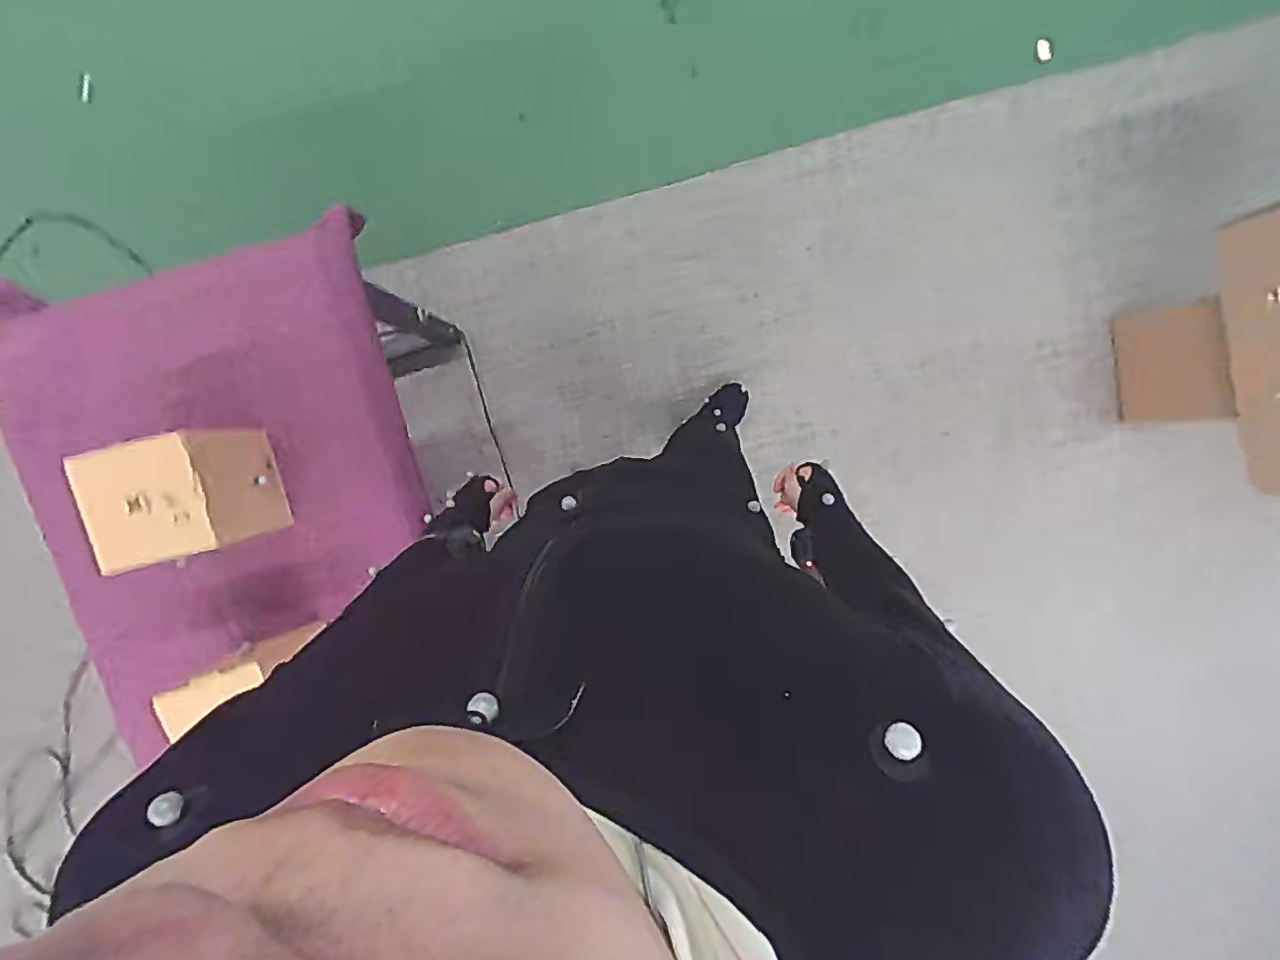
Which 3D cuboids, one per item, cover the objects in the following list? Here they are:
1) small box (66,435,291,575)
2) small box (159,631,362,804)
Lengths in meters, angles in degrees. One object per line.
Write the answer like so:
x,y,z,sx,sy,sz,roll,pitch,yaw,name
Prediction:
-0.685,0.029,0.824,0.179,0.176,0.168,-14,96,2,small box
-0.584,0.358,0.857,0.168,0.176,0.179,-20,95,3,small box
